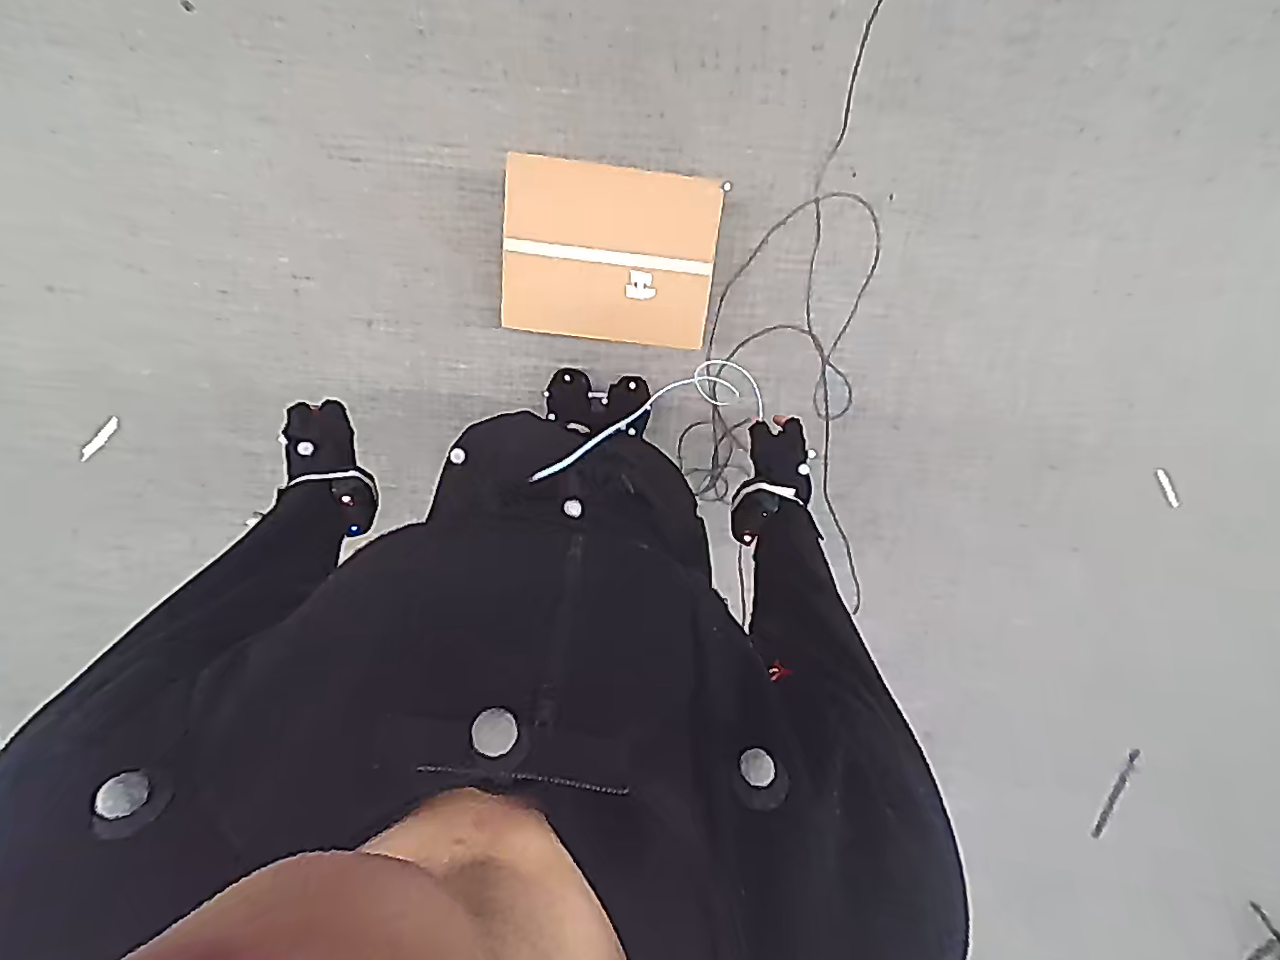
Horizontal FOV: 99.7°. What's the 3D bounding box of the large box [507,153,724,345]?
[{"bbox_3d":[-0.061,-0.482,1.188,0.408,0.320,0.320,6,108,-4],"label":"large box"}]
